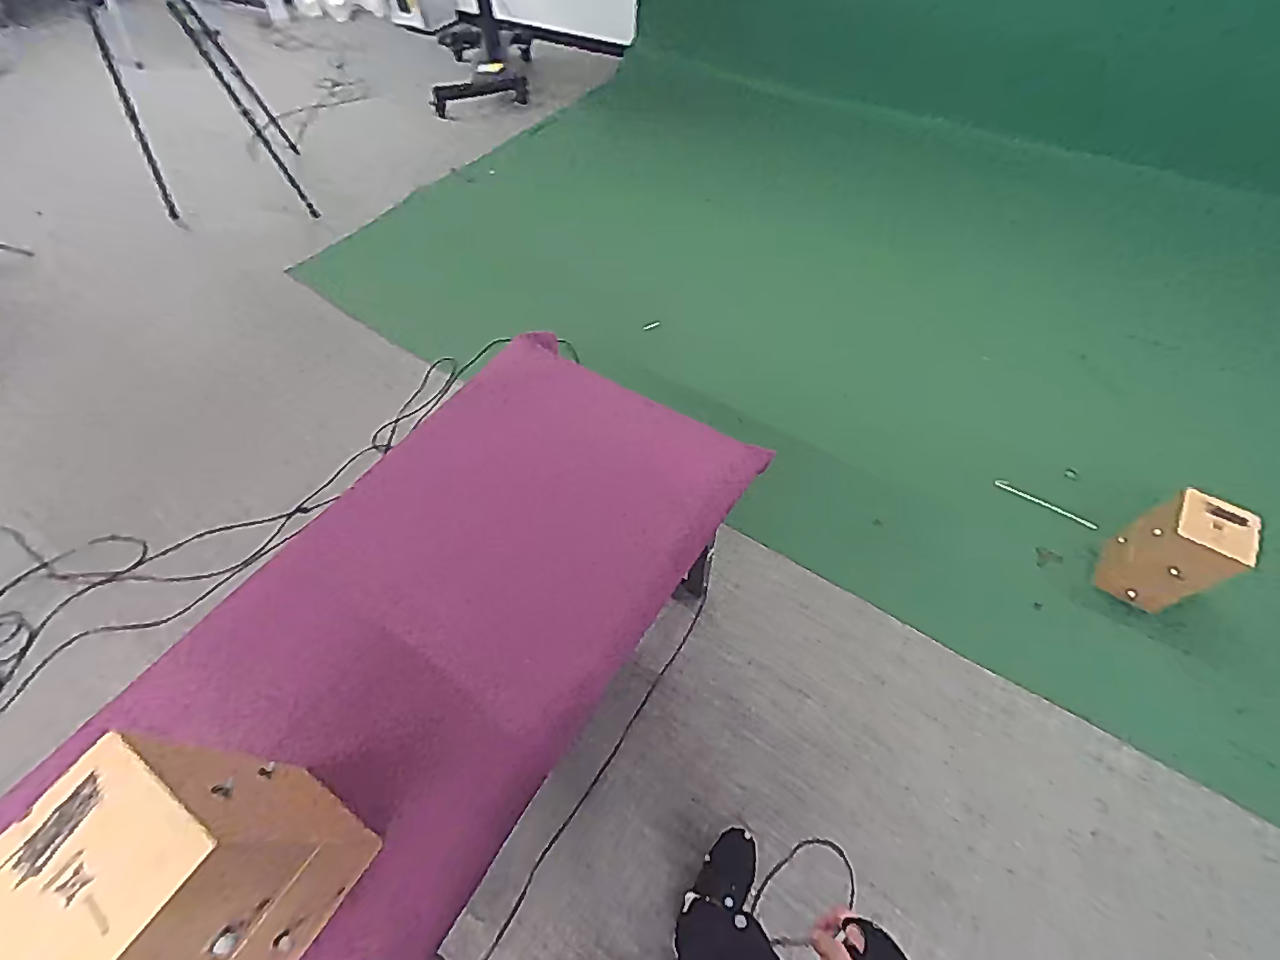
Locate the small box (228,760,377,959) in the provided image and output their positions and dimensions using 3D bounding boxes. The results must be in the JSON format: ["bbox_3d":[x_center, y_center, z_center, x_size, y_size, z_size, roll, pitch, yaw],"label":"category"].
[{"bbox_3d":[-0.462,0.472,0.652,0.179,0.176,0.168,26,61,20],"label":"small box"}]

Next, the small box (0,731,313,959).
[{"bbox_3d":[-0.470,0.378,0.518,0.179,0.176,0.168,27,62,19],"label":"small box"}]

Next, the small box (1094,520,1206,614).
[{"bbox_3d":[1.483,0.256,1.581,0.168,0.176,0.179,31,63,21],"label":"small box"}]
